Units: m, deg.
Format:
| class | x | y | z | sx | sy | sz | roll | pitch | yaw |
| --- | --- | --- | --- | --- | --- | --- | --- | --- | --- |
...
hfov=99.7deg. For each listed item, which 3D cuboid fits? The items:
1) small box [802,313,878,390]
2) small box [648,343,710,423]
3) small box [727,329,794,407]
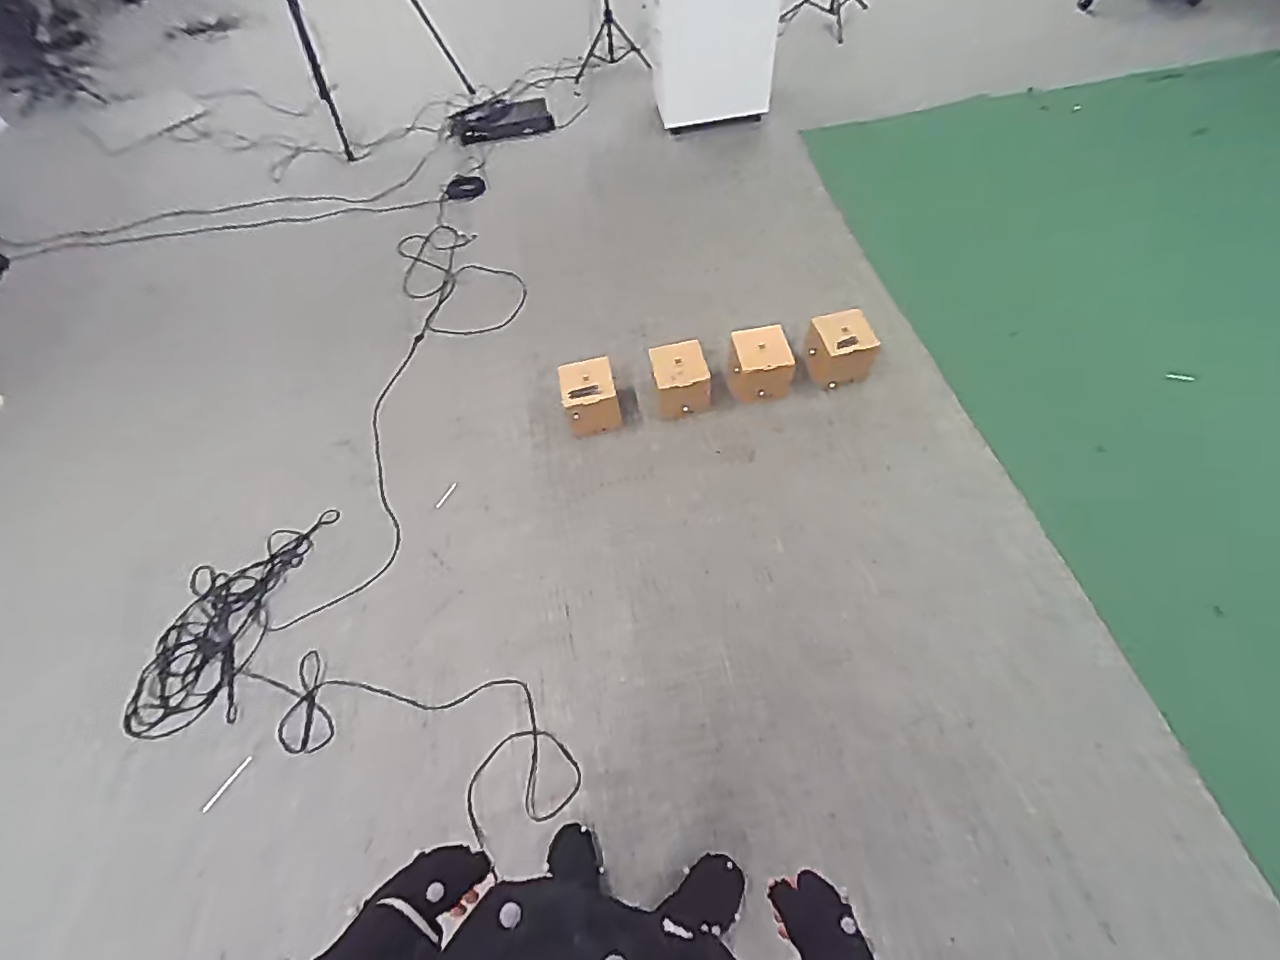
| class | x | y | z | sx | sy | sz | roll | pitch | yaw |
| --- | --- | --- | --- | --- | --- | --- | --- | --- | --- |
| small box | 0.651 | -0.416 | 1.782 | 0.168 | 0.176 | 0.179 | -13 | 59 | -3 |
| small box | 0.124 | -0.313 | 1.759 | 0.168 | 0.176 | 0.179 | -12 | 59 | -1 |
| small box | 0.387 | -0.364 | 1.772 | 0.168 | 0.176 | 0.179 | -10 | 59 | -2 |
